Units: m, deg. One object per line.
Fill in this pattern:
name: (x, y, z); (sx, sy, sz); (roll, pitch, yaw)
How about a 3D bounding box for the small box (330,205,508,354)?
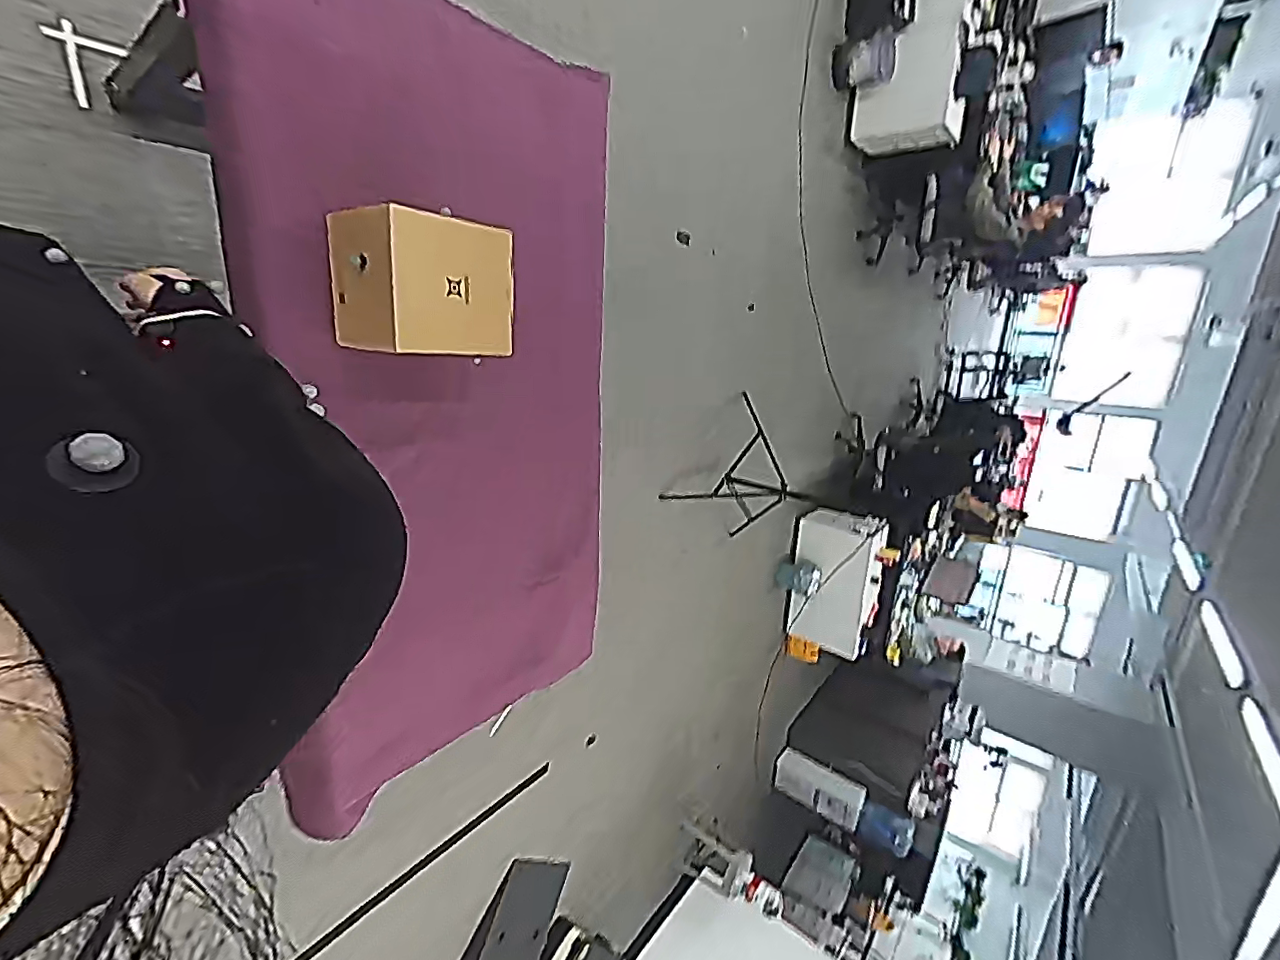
small box: (-0.304, -0.263, 0.744); (0.179, 0.176, 0.168); (-15, 114, -51)
